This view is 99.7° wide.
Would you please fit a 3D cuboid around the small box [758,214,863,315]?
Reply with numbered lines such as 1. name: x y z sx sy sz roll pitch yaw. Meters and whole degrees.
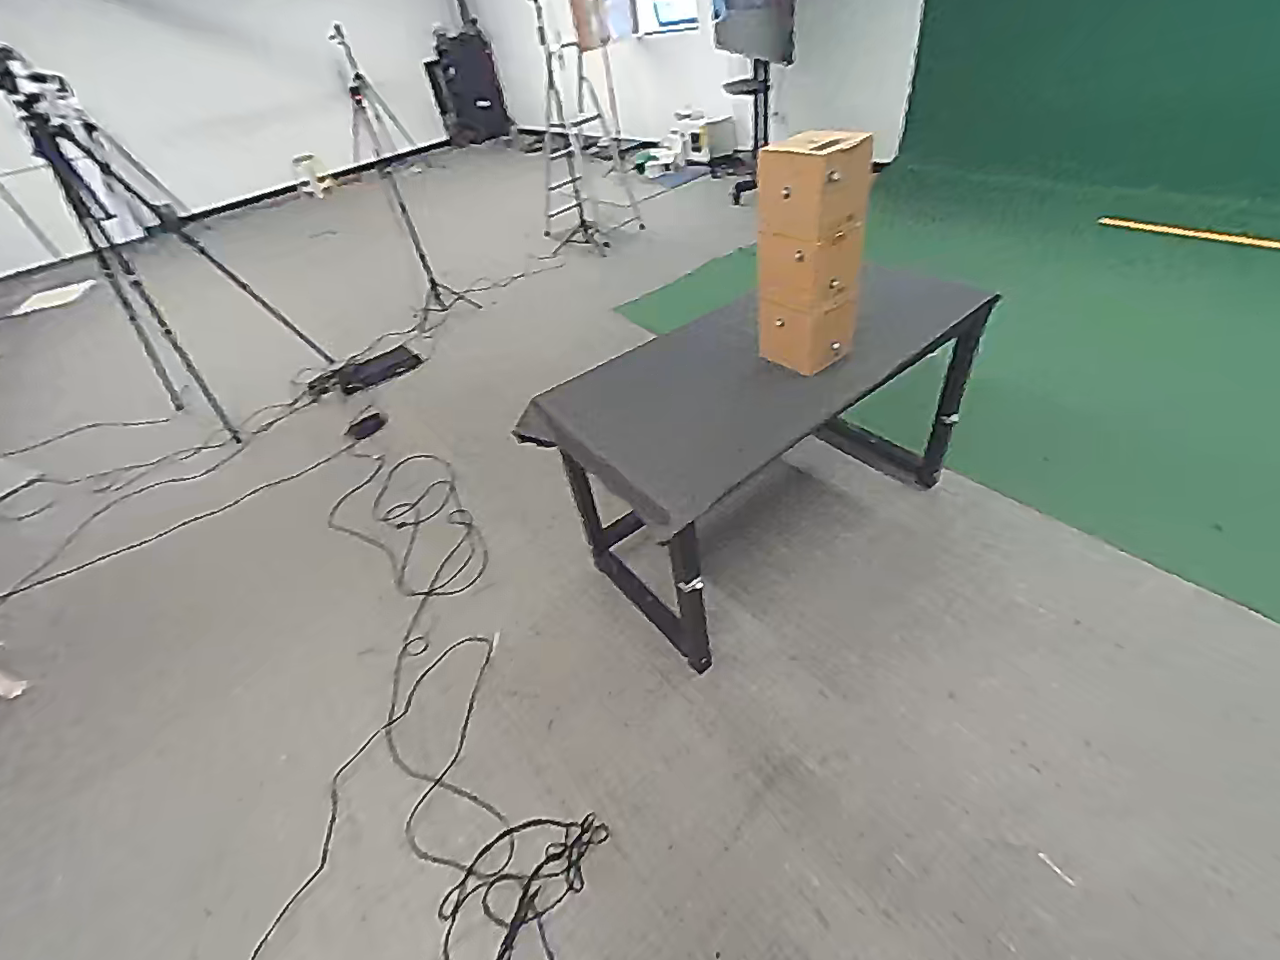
1. small box: 0.398 -0.514 1.292 0.168 0.176 0.179 -31 46 -22

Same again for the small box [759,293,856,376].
1. small box: 0.425 -0.392 1.395 0.168 0.176 0.179 -32 46 -22
